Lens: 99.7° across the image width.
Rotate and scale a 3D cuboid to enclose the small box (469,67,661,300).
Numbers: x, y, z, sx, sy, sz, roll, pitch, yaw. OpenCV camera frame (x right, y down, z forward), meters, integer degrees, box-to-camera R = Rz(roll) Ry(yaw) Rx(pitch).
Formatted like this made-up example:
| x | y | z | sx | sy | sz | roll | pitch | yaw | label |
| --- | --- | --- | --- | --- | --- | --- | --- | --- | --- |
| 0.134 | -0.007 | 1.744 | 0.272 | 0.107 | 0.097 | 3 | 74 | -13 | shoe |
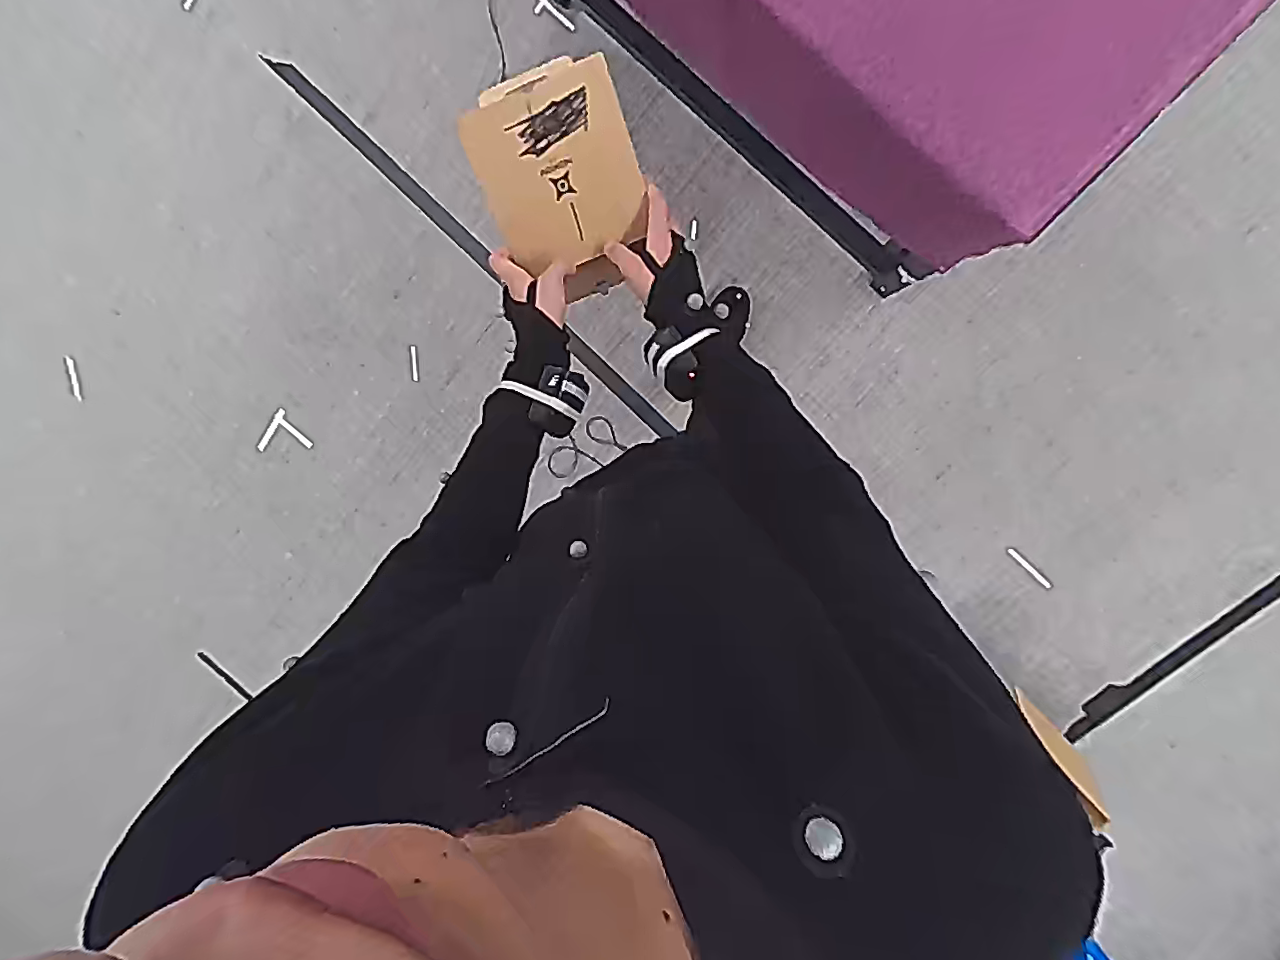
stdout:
| x | y | z | sx | sy | sz | roll | pitch | yaw | label |
| --- | --- | --- | --- | --- | --- | --- | --- | --- | --- |
| -0.079 | -0.346 | 0.670 | 0.168 | 0.176 | 0.179 | -20 | 97 | 7 | small box |
